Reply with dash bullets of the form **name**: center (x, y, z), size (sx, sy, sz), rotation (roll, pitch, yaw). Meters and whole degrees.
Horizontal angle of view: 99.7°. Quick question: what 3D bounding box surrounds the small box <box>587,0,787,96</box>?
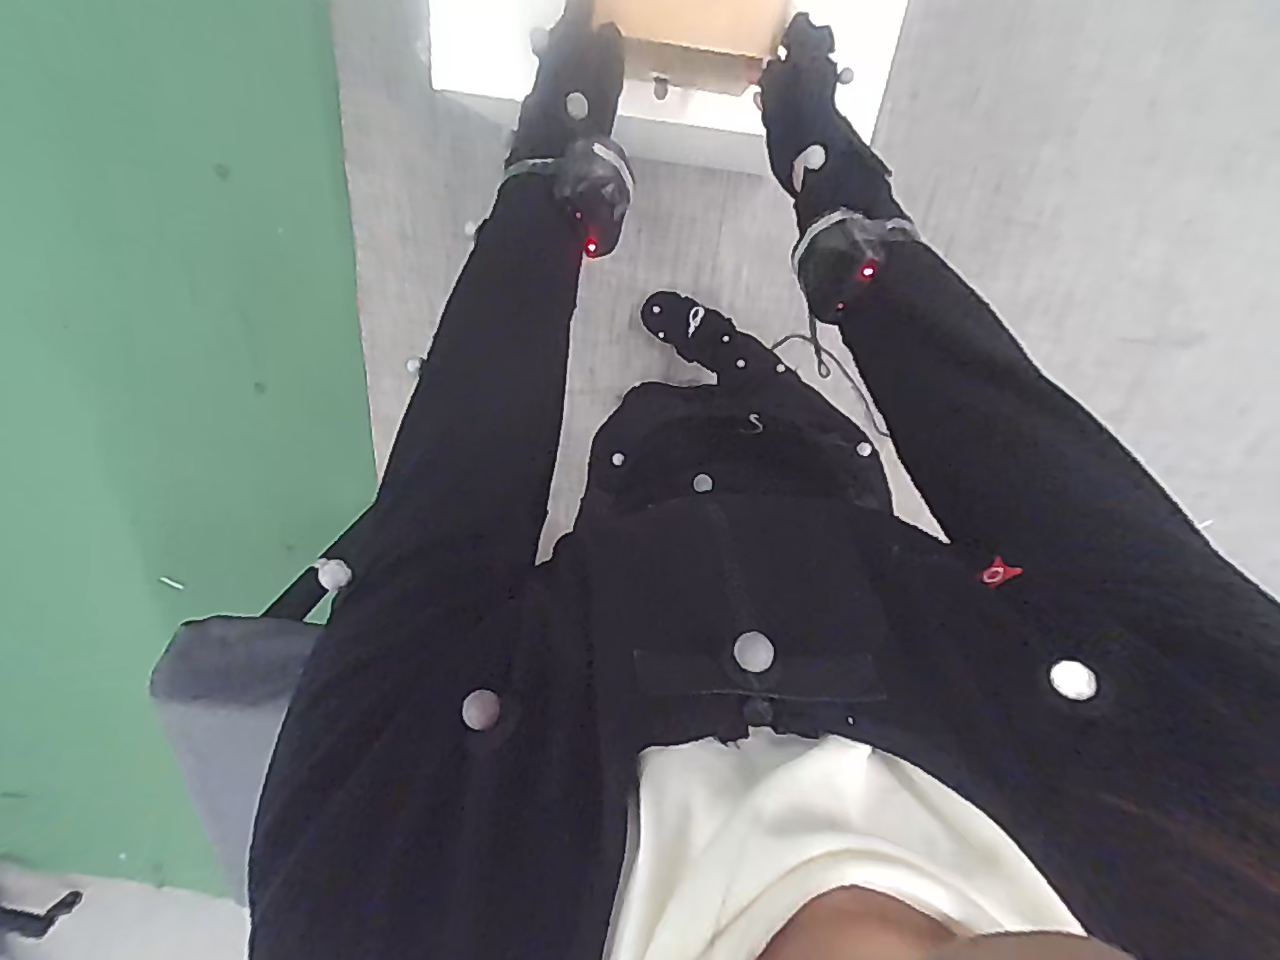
- **small box**: center (0.046, -0.478, 0.491), size (0.168, 0.176, 0.179), rotation (6, 117, -1)
